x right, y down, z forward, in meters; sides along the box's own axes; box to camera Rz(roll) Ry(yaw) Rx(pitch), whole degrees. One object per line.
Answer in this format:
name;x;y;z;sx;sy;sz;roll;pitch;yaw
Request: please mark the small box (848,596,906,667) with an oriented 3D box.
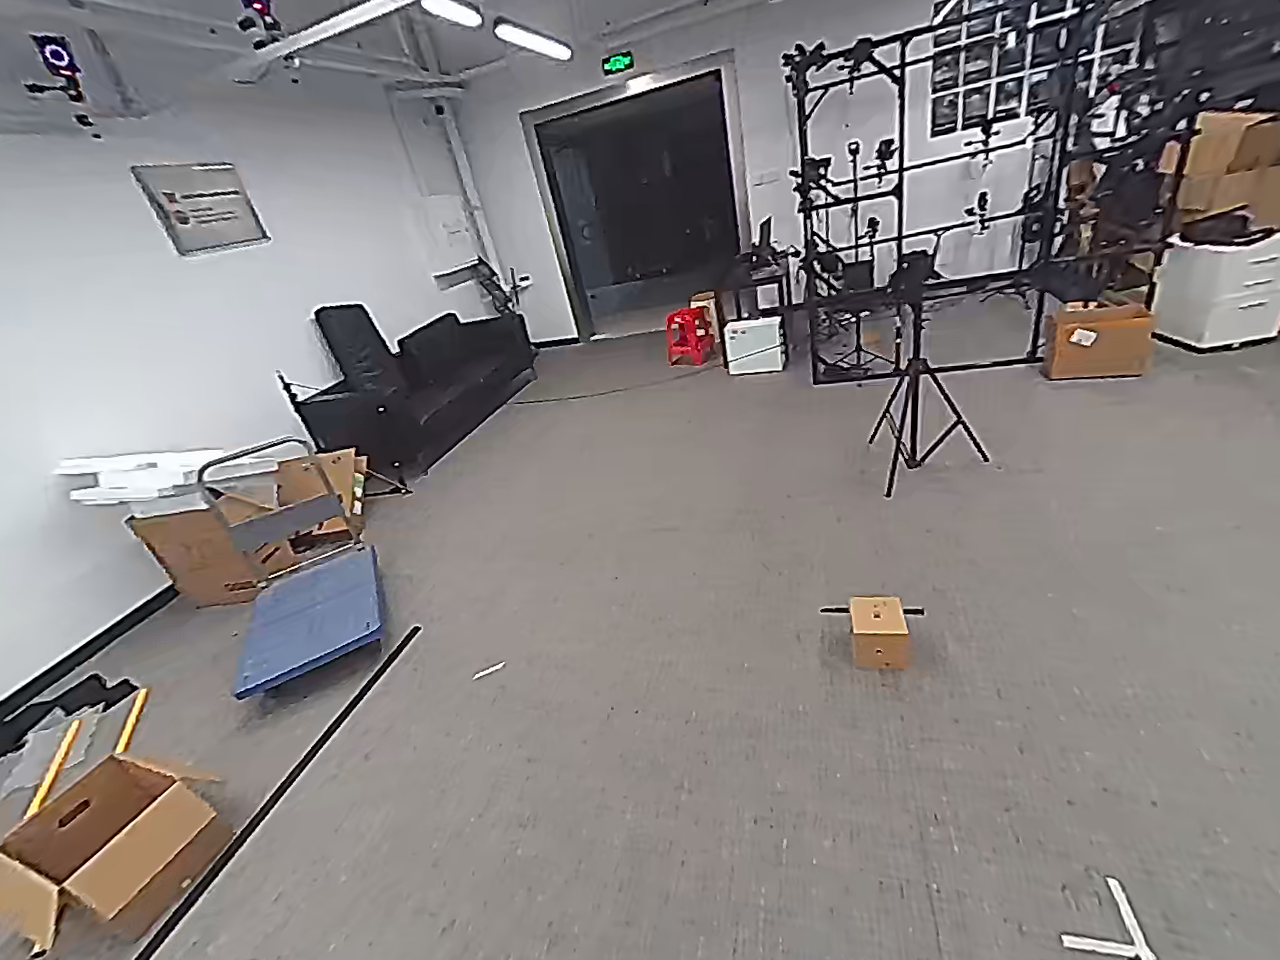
small box;0.814;0.523;1.860;0.168;0.176;0.179;-4;29;17
